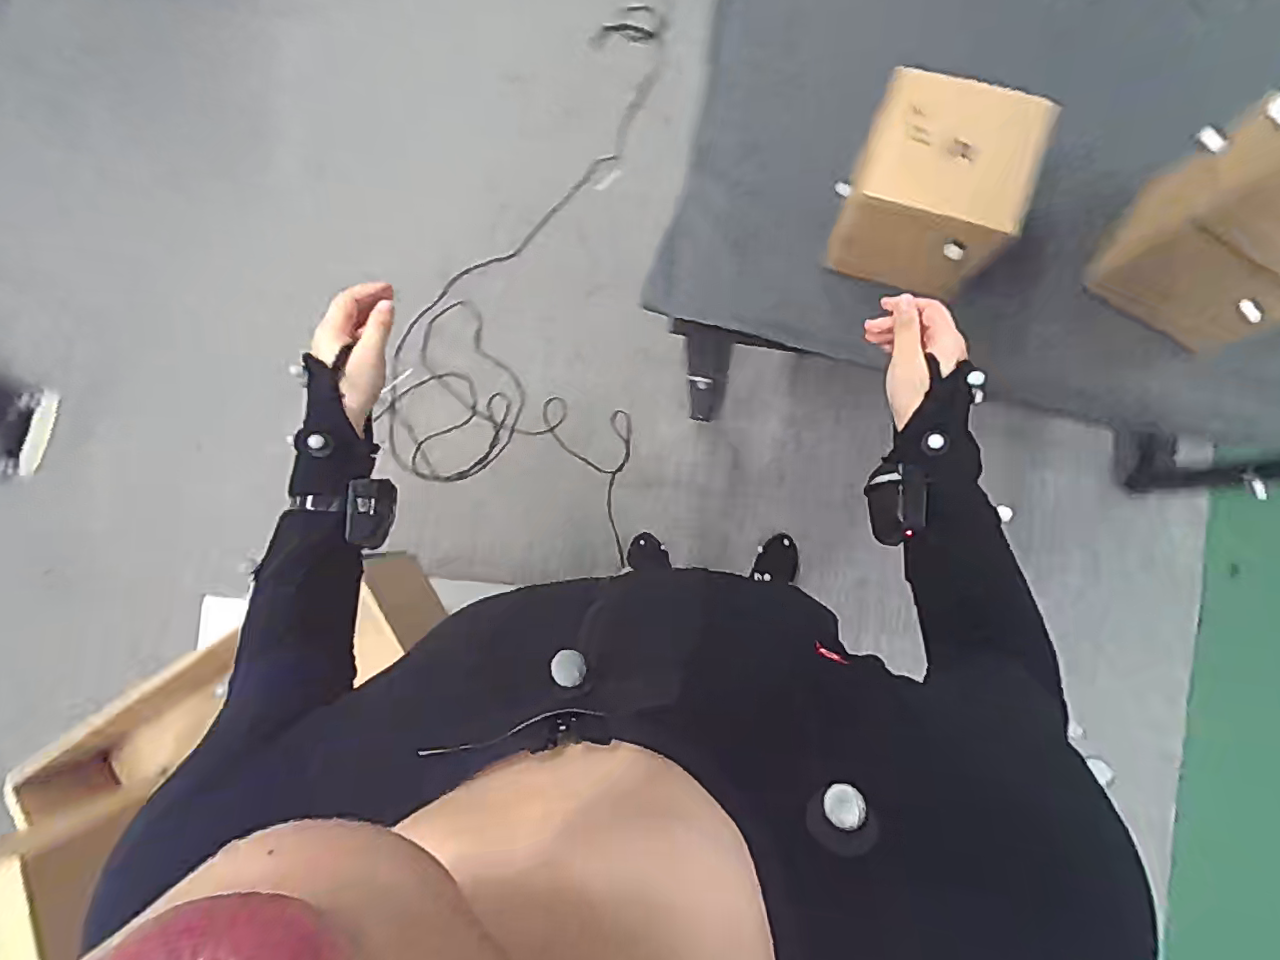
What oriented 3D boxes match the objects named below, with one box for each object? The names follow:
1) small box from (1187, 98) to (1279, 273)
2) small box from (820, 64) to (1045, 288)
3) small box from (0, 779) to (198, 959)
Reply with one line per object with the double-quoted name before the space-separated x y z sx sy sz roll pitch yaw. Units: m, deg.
"small box" 0.678 -0.299 0.479 0.179 0.176 0.168 41 89 8
"small box" 0.353 -0.368 0.686 0.179 0.176 0.168 18 86 7
"small box" -0.698 0.499 0.653 0.179 0.176 0.168 -18 87 3
